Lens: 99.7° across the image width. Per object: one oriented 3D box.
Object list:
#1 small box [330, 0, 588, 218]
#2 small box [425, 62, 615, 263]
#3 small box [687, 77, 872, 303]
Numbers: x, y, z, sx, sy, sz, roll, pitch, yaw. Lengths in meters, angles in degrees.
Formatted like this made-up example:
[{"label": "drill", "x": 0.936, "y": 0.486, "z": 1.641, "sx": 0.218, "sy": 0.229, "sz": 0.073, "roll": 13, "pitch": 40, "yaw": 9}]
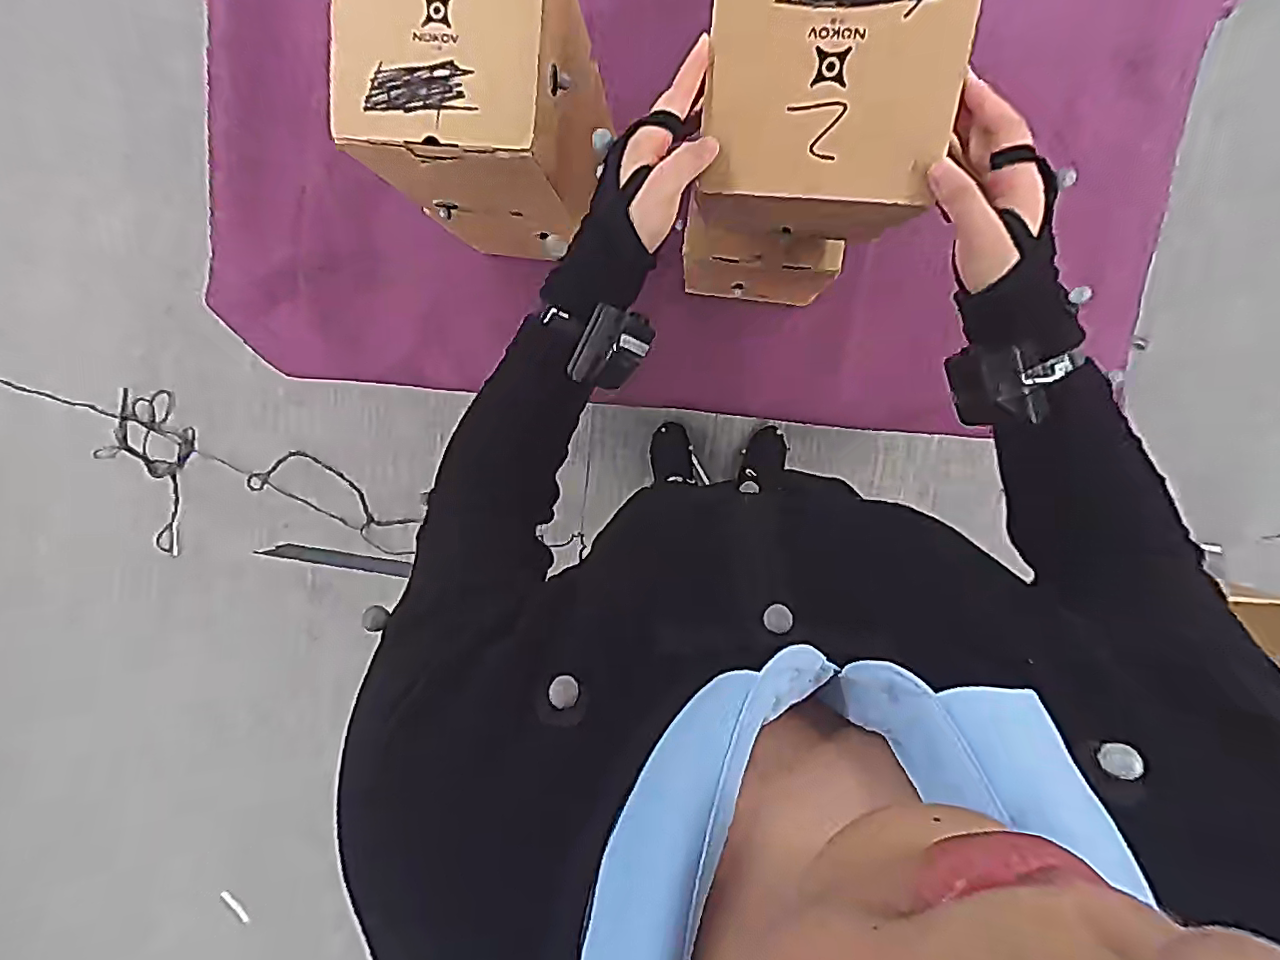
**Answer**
[{"label": "small box", "x": -0.145, "y": -0.354, "z": 0.484, "sx": 0.168, "sy": 0.176, "sz": 0.179, "roll": 6, "pitch": 98, "yaw": 4}, {"label": "small box", "x": -0.131, "y": -0.370, "z": 0.647, "sx": 0.179, "sy": 0.176, "sz": 0.168, "roll": 8, "pitch": 99, "yaw": 4}, {"label": "small box", "x": 0.146, "y": -0.319, "z": 0.628, "sx": 0.168, "sy": 0.176, "sz": 0.179, "roll": 8, "pitch": 98, "yaw": 4}]
